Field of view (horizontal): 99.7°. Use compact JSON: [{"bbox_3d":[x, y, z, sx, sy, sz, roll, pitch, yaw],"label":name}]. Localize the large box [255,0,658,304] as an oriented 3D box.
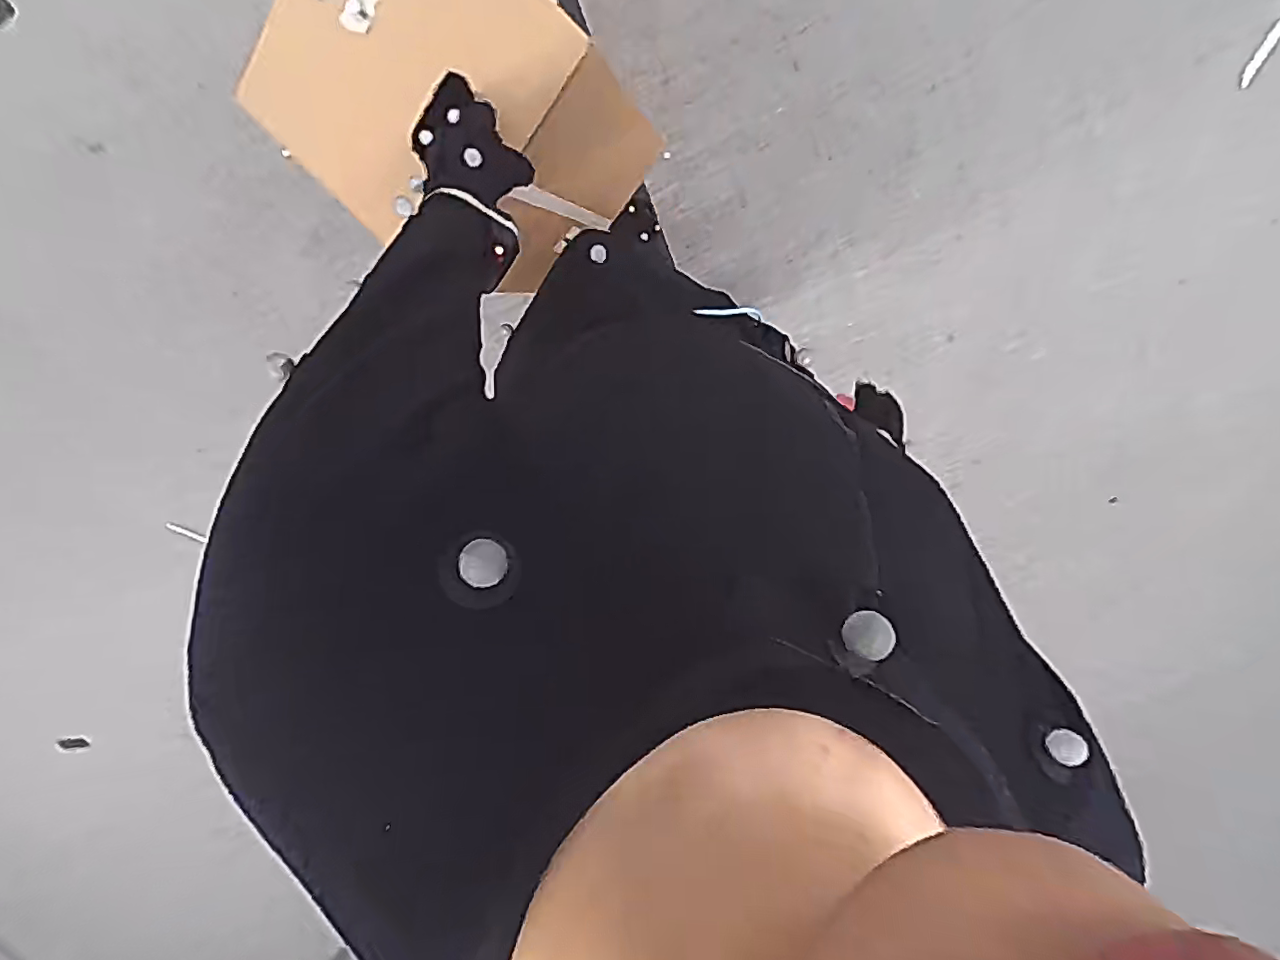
[{"bbox_3d":[-0.220,-0.484,0.772,0.320,0.408,0.320,43,113,-4],"label":"large box"}]
